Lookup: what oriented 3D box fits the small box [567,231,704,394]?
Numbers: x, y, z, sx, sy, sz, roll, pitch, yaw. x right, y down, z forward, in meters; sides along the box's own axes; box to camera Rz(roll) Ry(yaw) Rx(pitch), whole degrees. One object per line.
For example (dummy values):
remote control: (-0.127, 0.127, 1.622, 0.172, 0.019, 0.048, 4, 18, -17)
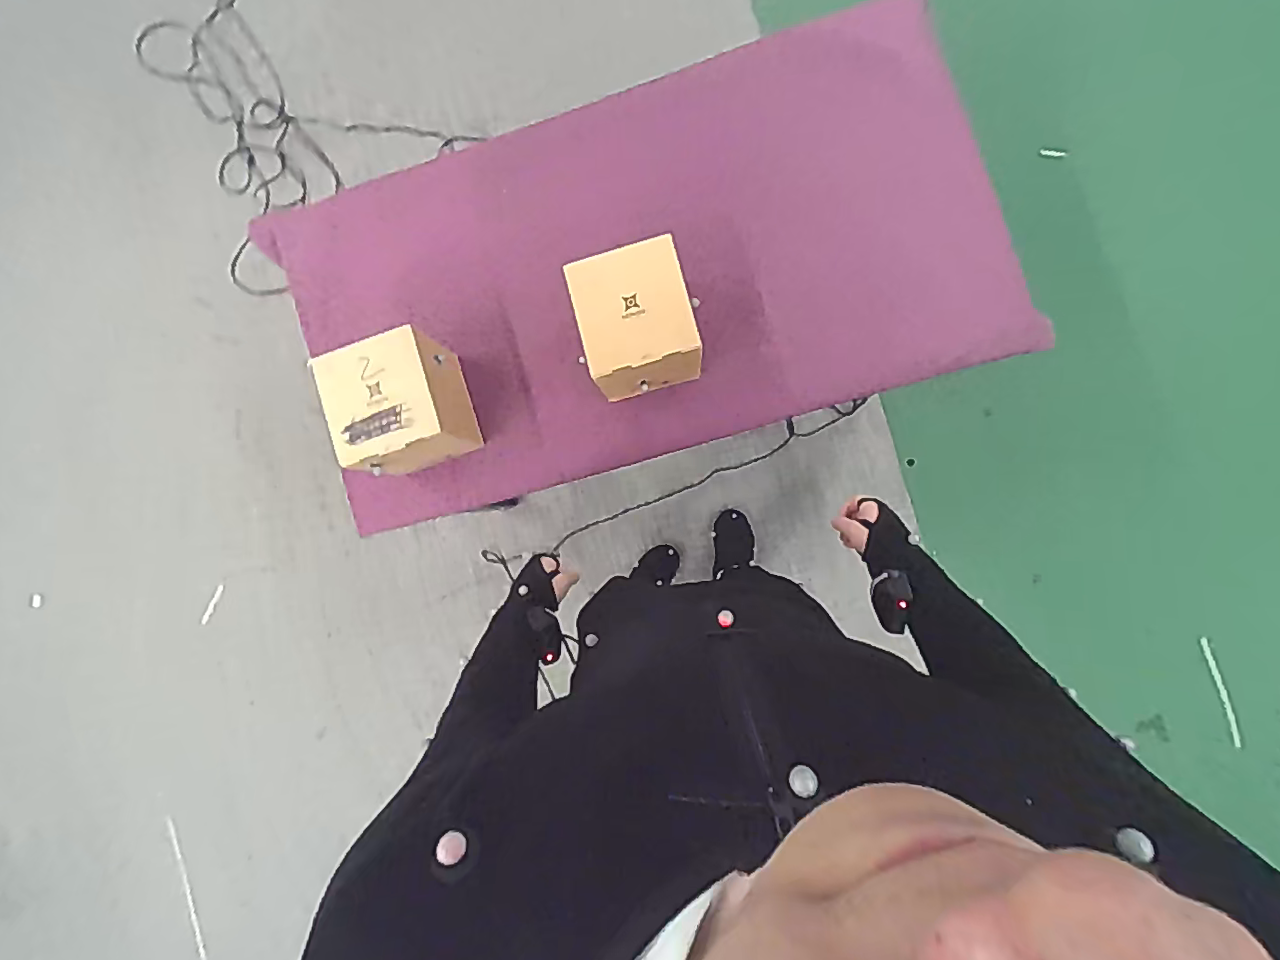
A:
small box: (-0.004, -0.252, 0.854, 0.168, 0.176, 0.179, -16, 87, 3)
